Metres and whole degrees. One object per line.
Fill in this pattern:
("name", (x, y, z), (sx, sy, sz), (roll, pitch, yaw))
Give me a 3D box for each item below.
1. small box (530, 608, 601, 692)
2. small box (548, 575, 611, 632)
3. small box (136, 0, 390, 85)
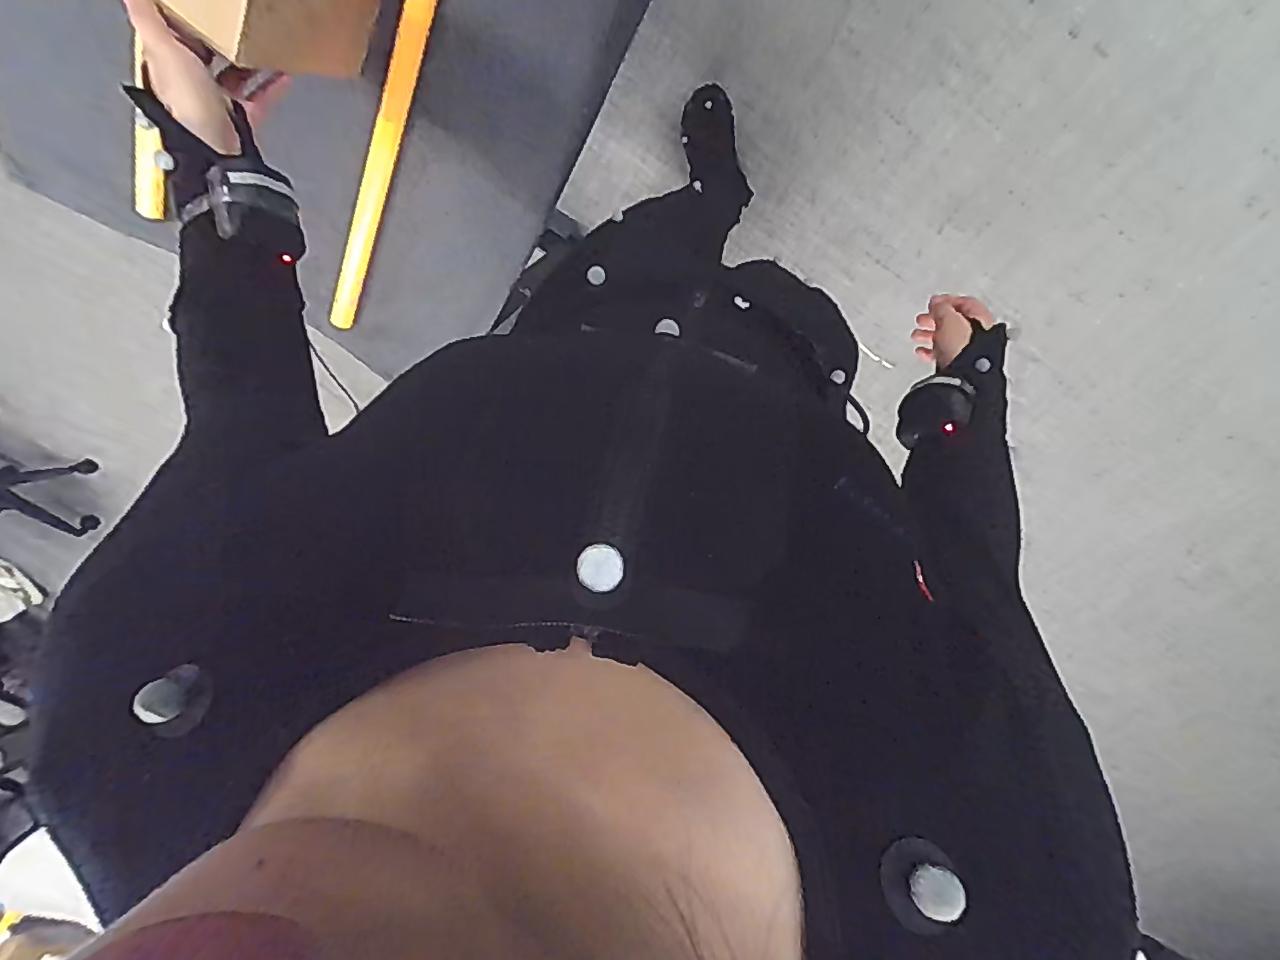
("small box", (-0.237, 0.554, 1.776), (0.168, 0.176, 0.179), (26, 124, -8))
("small box", (-0.214, 0.471, 1.917), (0.168, 0.176, 0.179), (27, 124, -9))
("small box", (-0.318, -0.461, 0.440), (0.168, 0.176, 0.179), (34, 122, -13))
